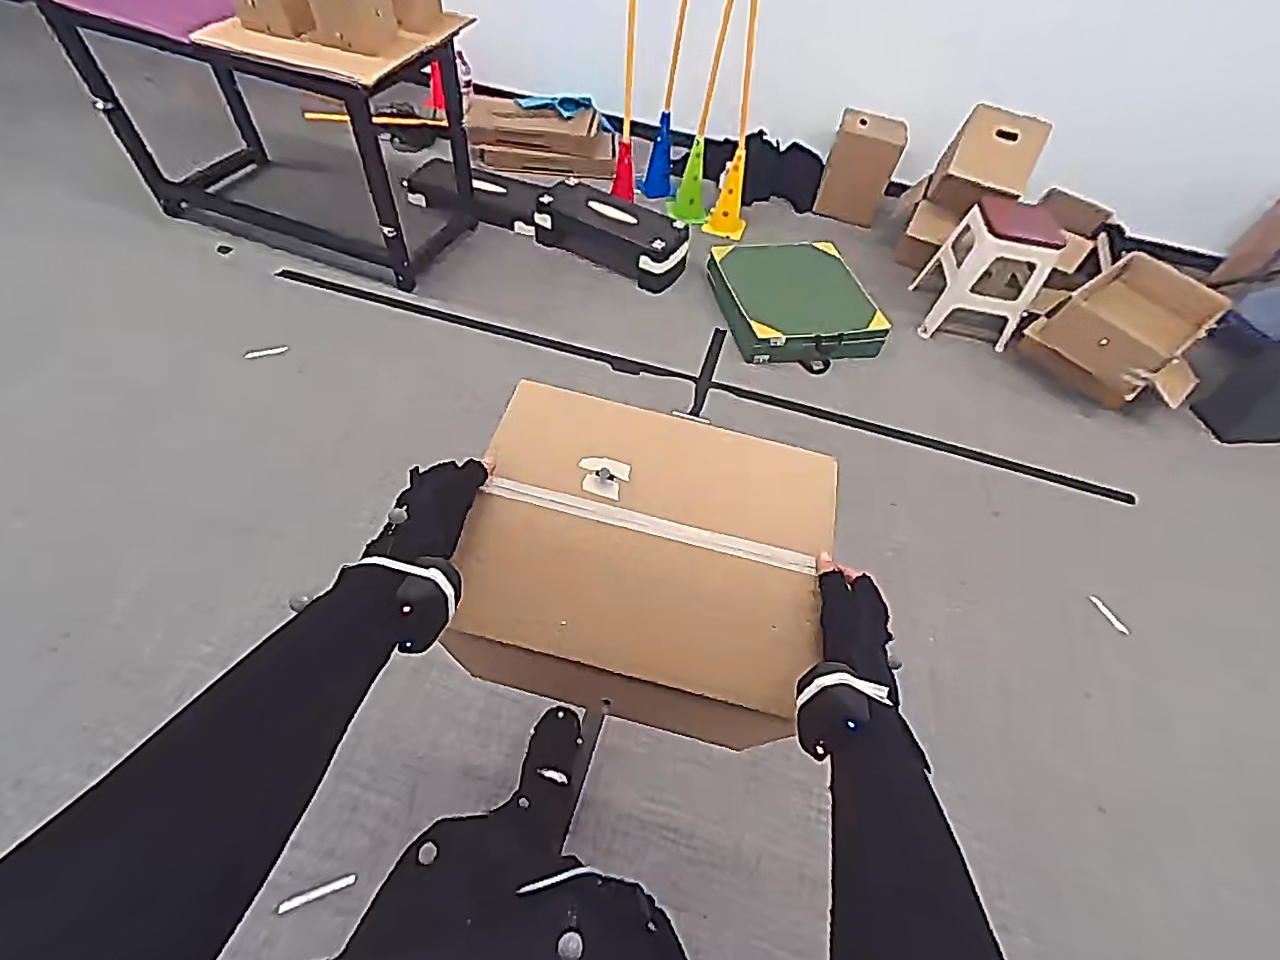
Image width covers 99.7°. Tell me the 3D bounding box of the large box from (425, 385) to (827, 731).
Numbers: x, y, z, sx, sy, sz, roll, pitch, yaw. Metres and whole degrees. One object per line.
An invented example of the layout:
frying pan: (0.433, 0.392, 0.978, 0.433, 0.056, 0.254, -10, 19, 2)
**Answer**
large box: (-0.001, 0.123, 0.737, 0.408, 0.320, 0.320, 14, 59, 3)
